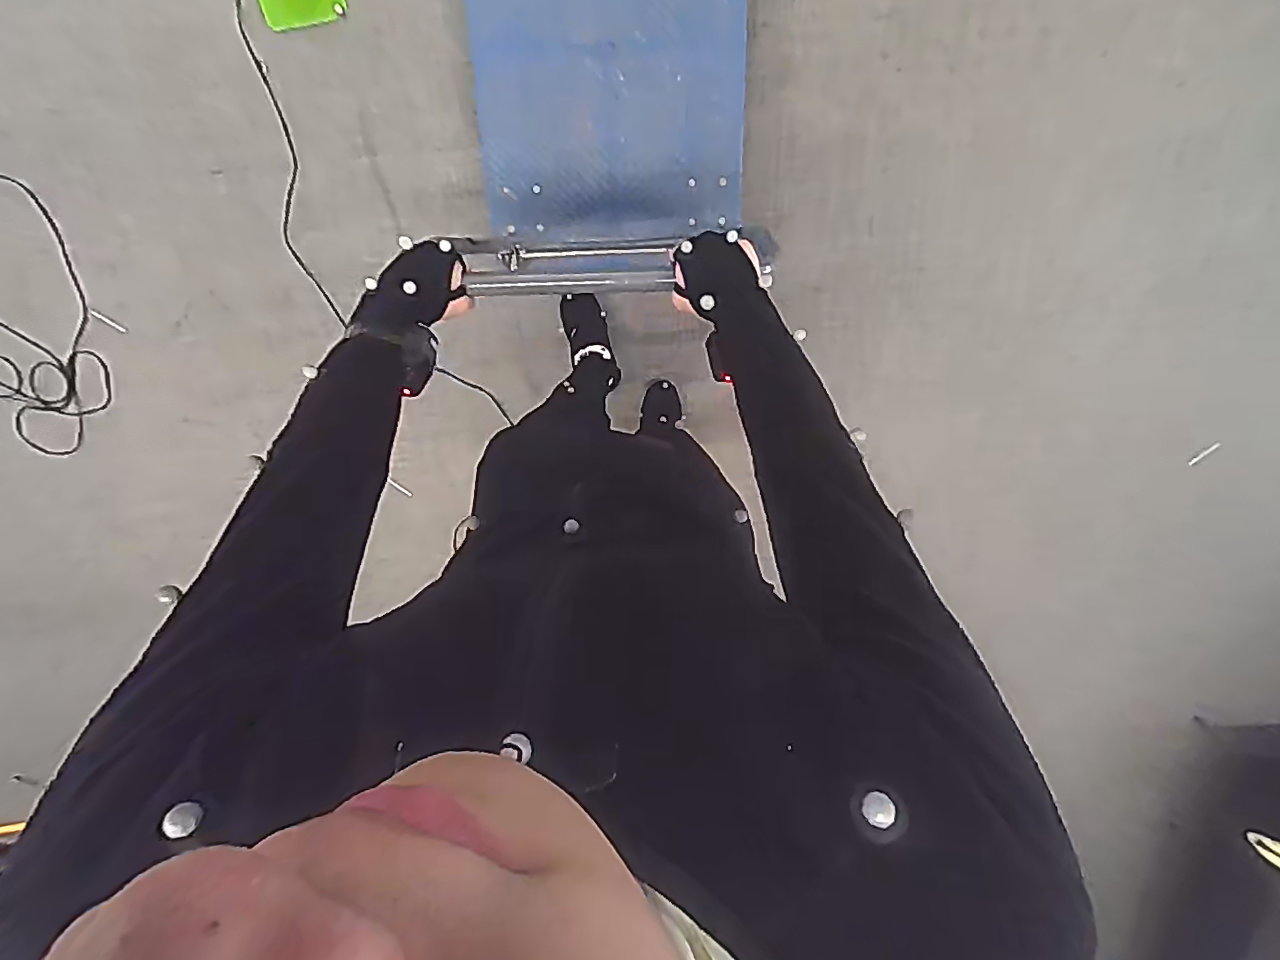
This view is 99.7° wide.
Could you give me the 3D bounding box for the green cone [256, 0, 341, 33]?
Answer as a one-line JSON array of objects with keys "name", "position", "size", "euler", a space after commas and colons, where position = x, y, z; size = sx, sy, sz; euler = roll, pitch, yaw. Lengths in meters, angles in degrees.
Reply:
[{"name": "green cone", "position": [-0.814, -1.103, 1.078], "size": [0.202, 0.368, 0.200], "euler": [-7, 110, 7]}]
